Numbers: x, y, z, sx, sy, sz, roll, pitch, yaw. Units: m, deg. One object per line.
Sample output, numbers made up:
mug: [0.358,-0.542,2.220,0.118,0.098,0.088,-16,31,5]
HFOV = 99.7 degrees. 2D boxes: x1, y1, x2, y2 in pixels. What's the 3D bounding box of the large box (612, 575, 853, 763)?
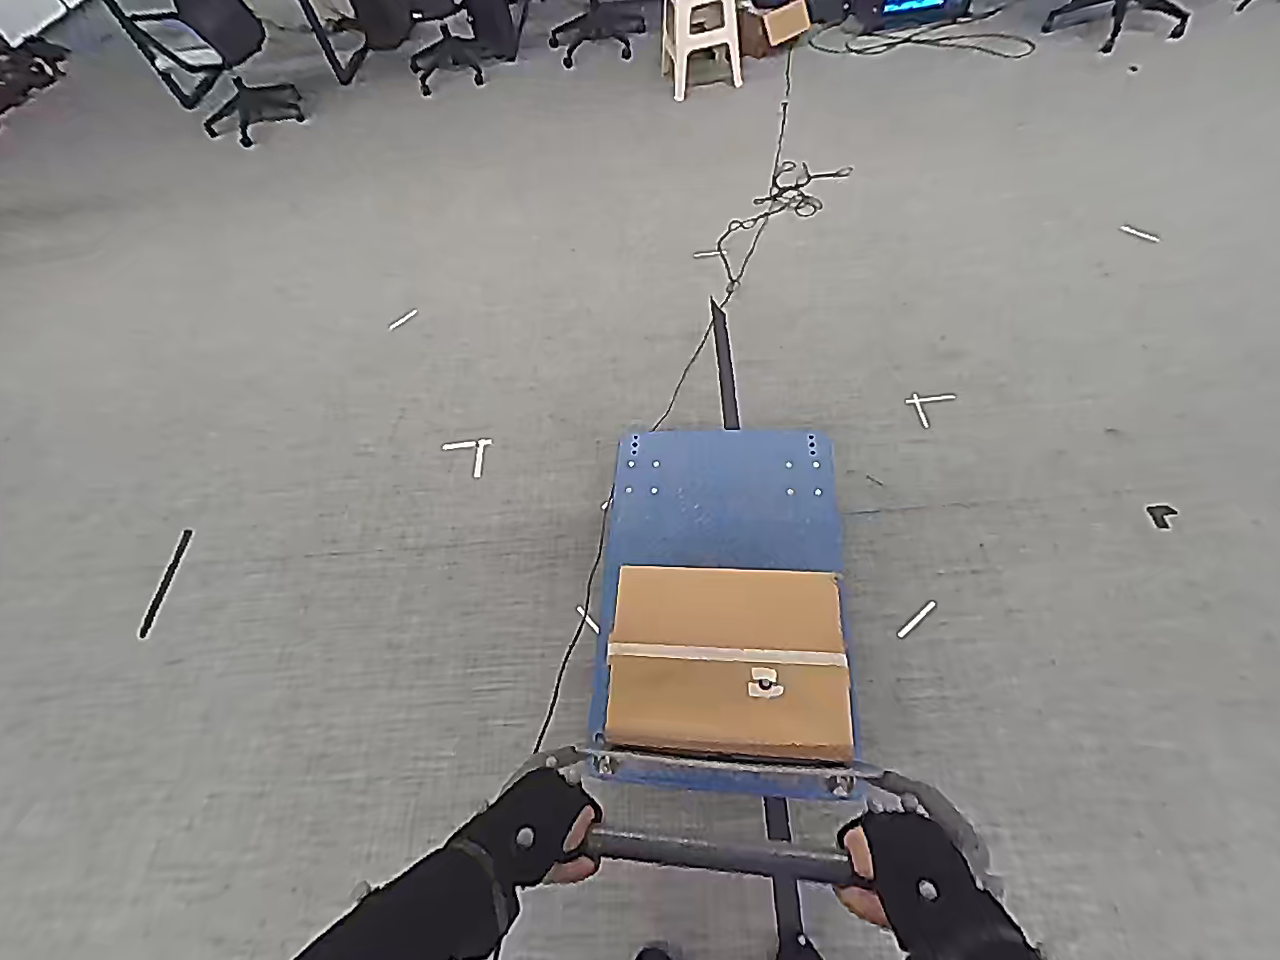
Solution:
large box: [0.169,0.388,1.091,0.408,0.320,0.320,0,64,7]
